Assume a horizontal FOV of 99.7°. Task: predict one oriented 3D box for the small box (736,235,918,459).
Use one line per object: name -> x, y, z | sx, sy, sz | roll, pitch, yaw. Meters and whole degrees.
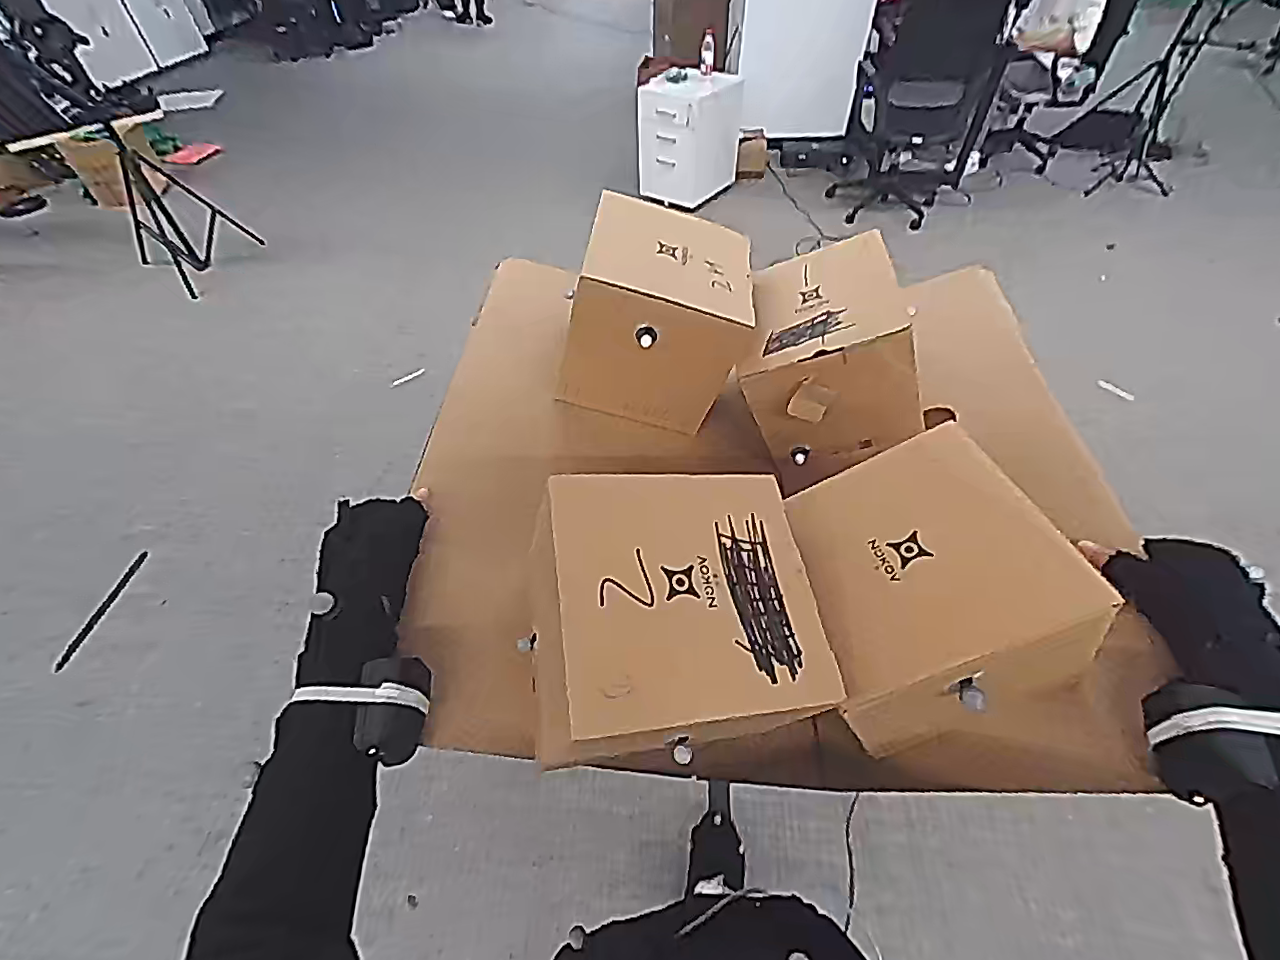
small box -> 0.218, -0.142, 0.637 | 0.168, 0.176, 0.179 | -12, 49, 24
